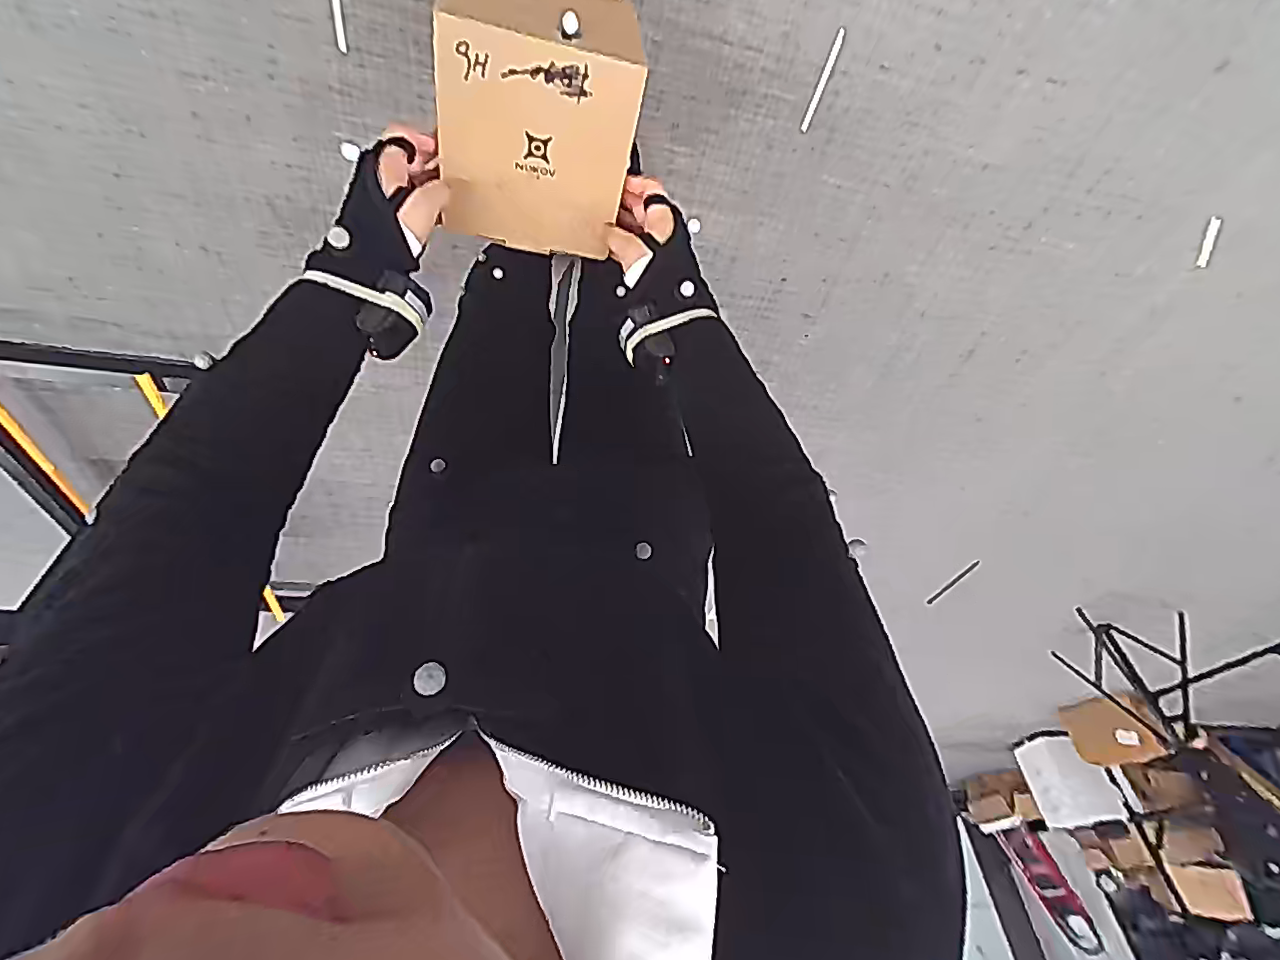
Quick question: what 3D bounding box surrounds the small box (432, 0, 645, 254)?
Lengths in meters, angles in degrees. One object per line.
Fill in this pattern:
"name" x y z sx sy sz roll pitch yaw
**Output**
"small box" -0.099 -0.357 0.522 0.168 0.176 0.179 5 145 -14
